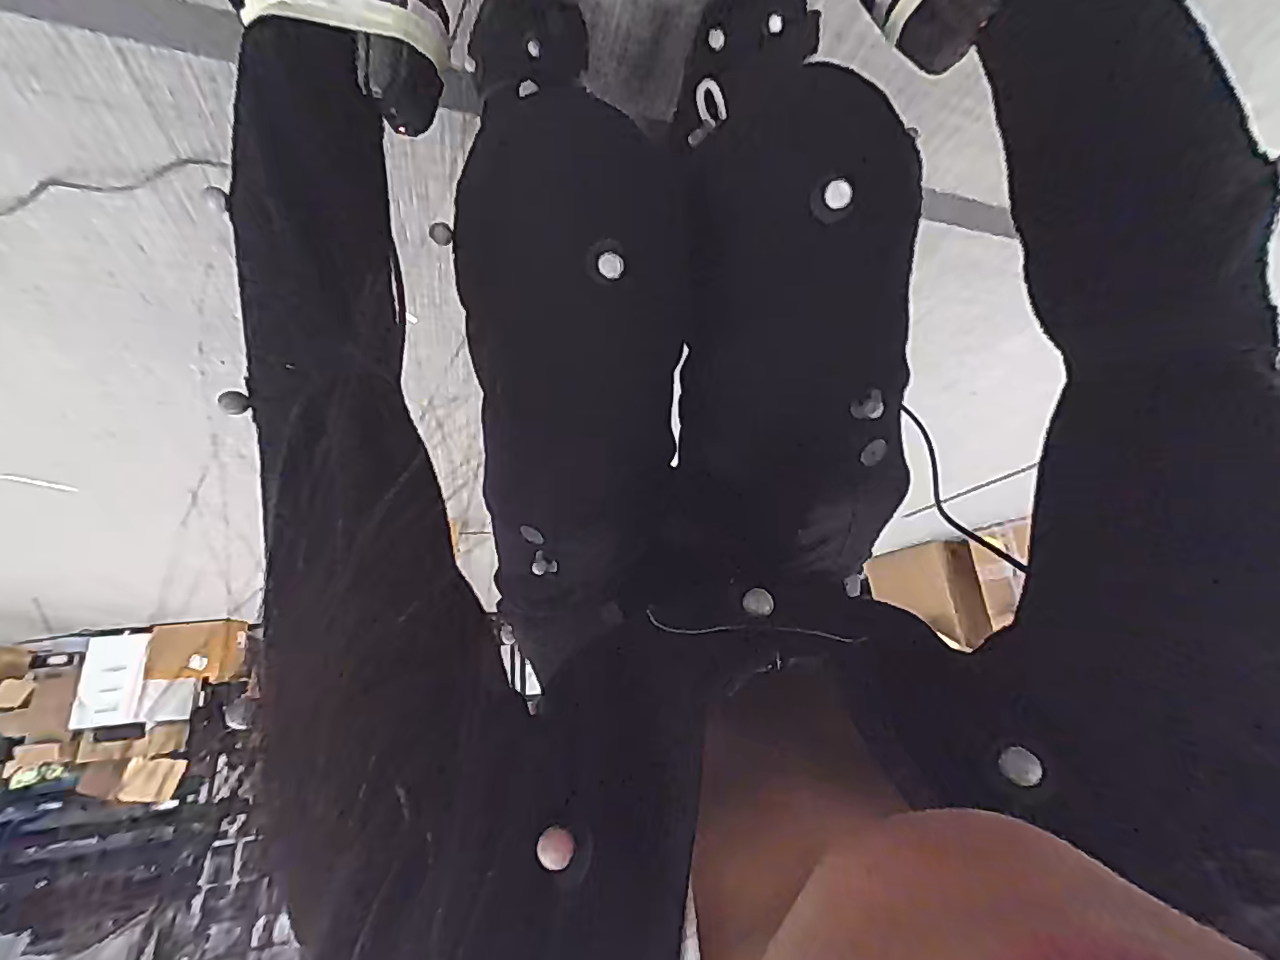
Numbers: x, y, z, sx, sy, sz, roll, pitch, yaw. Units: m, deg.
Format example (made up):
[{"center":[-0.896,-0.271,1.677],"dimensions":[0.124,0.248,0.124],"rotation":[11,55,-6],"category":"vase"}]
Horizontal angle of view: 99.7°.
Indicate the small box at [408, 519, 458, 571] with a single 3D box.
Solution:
[{"center":[-0.786,0.250,2.067],"dimensions":[0.168,0.176,0.179],"rotation":[1,161,-16],"category":"small box"}]
